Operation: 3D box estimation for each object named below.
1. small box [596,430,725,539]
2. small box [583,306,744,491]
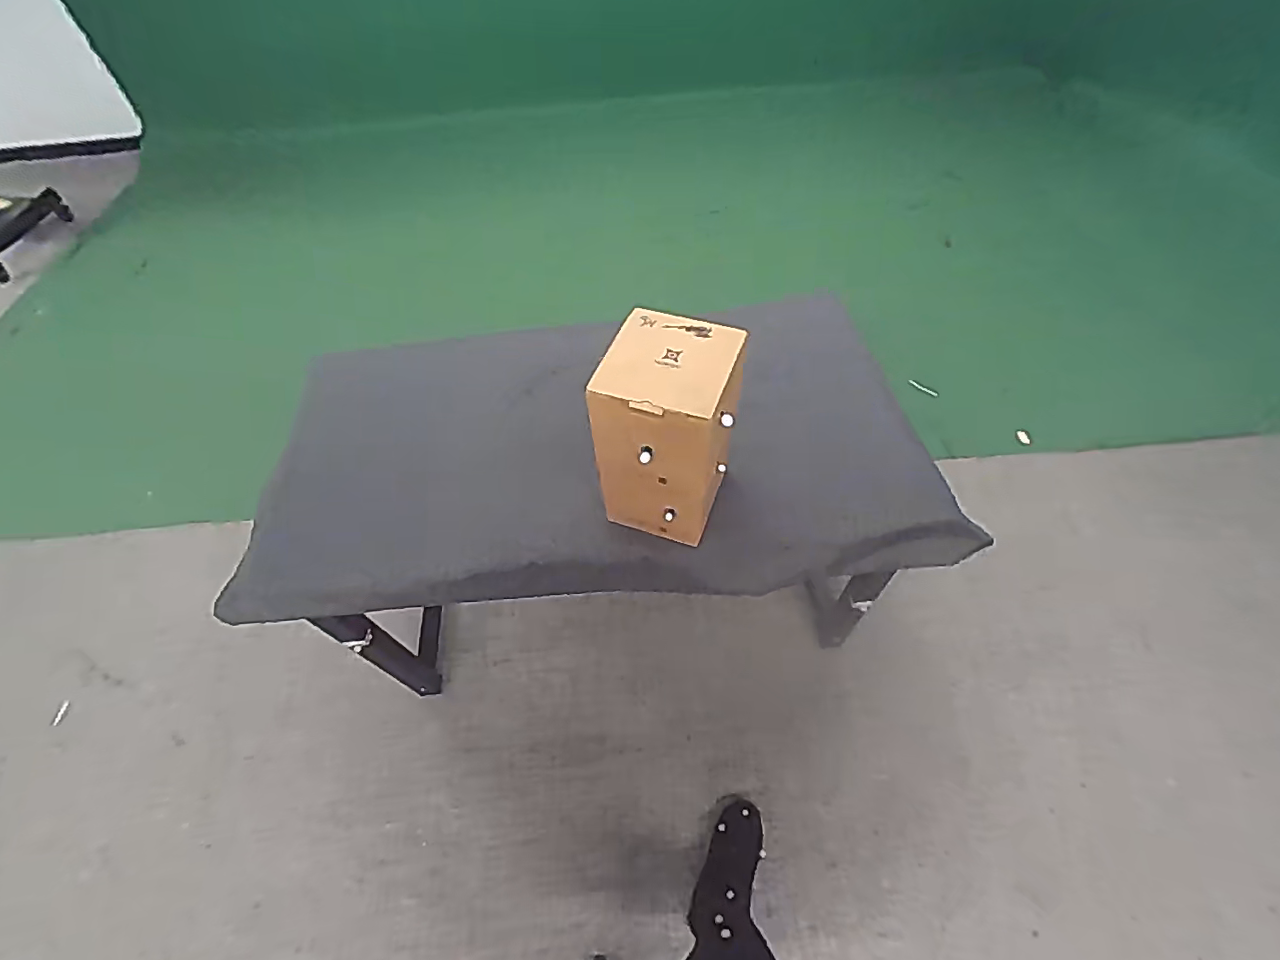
[{"bbox_3d":[0.041,-0.026,0.905,0.168,0.176,0.179,17,56,12],"label":"small box"},{"bbox_3d":[0.037,-0.111,0.764,0.168,0.176,0.179,17,58,13],"label":"small box"}]
